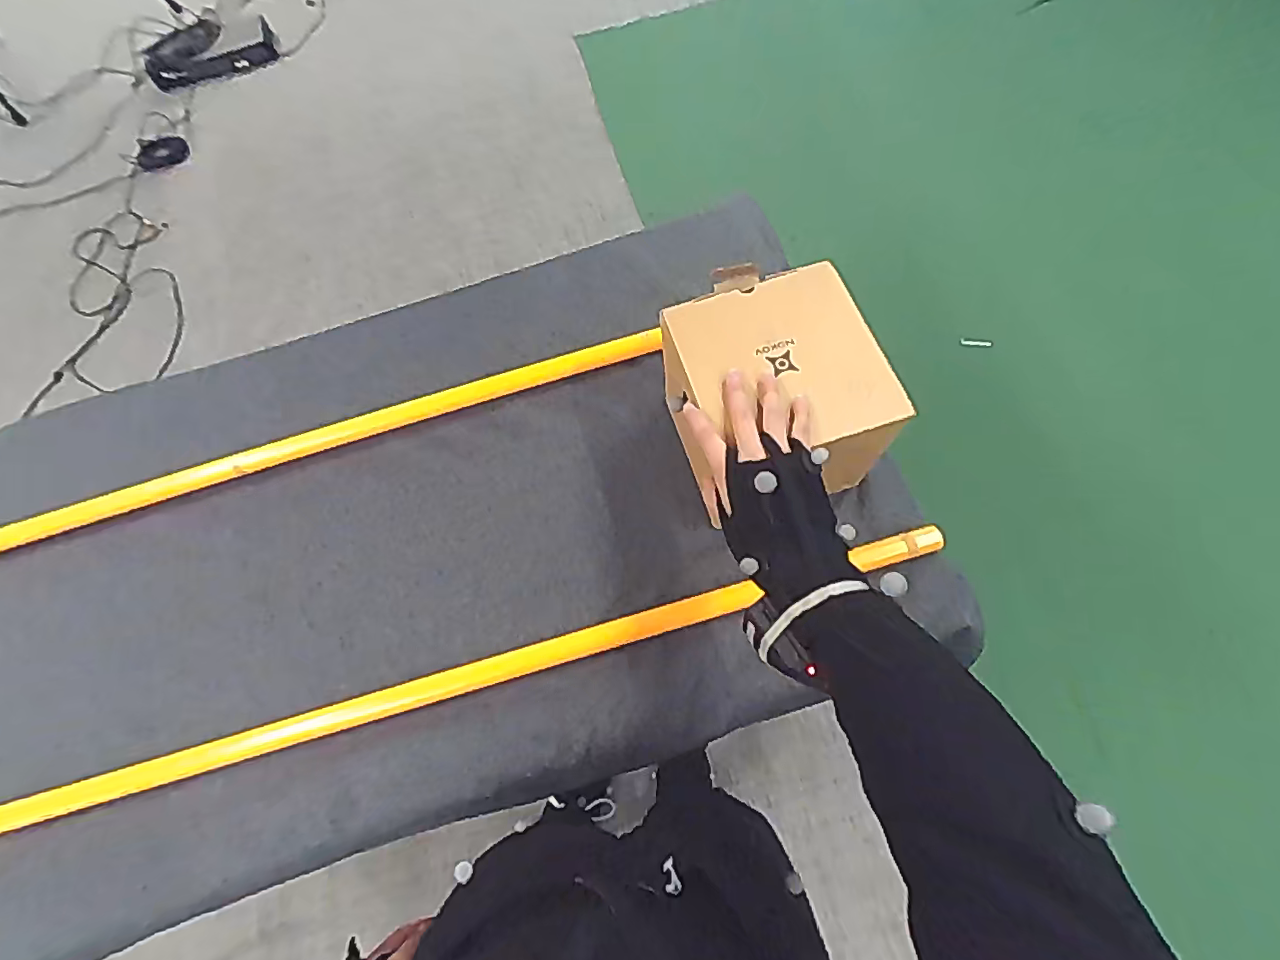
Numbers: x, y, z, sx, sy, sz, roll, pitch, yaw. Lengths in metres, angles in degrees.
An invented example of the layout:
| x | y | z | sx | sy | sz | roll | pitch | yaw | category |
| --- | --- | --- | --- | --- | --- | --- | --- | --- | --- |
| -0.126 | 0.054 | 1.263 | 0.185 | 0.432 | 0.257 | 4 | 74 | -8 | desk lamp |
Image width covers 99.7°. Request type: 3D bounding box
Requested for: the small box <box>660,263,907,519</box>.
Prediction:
| x | y | z | sx | sy | sz | roll | pitch | yaw | category |
| --- | --- | --- | --- | --- | --- | --- | --- | --- | --- |
| 0.127 | -0.074 | 0.543 | 0.168 | 0.176 | 0.179 | -18 | 67 | -1 | small box |
